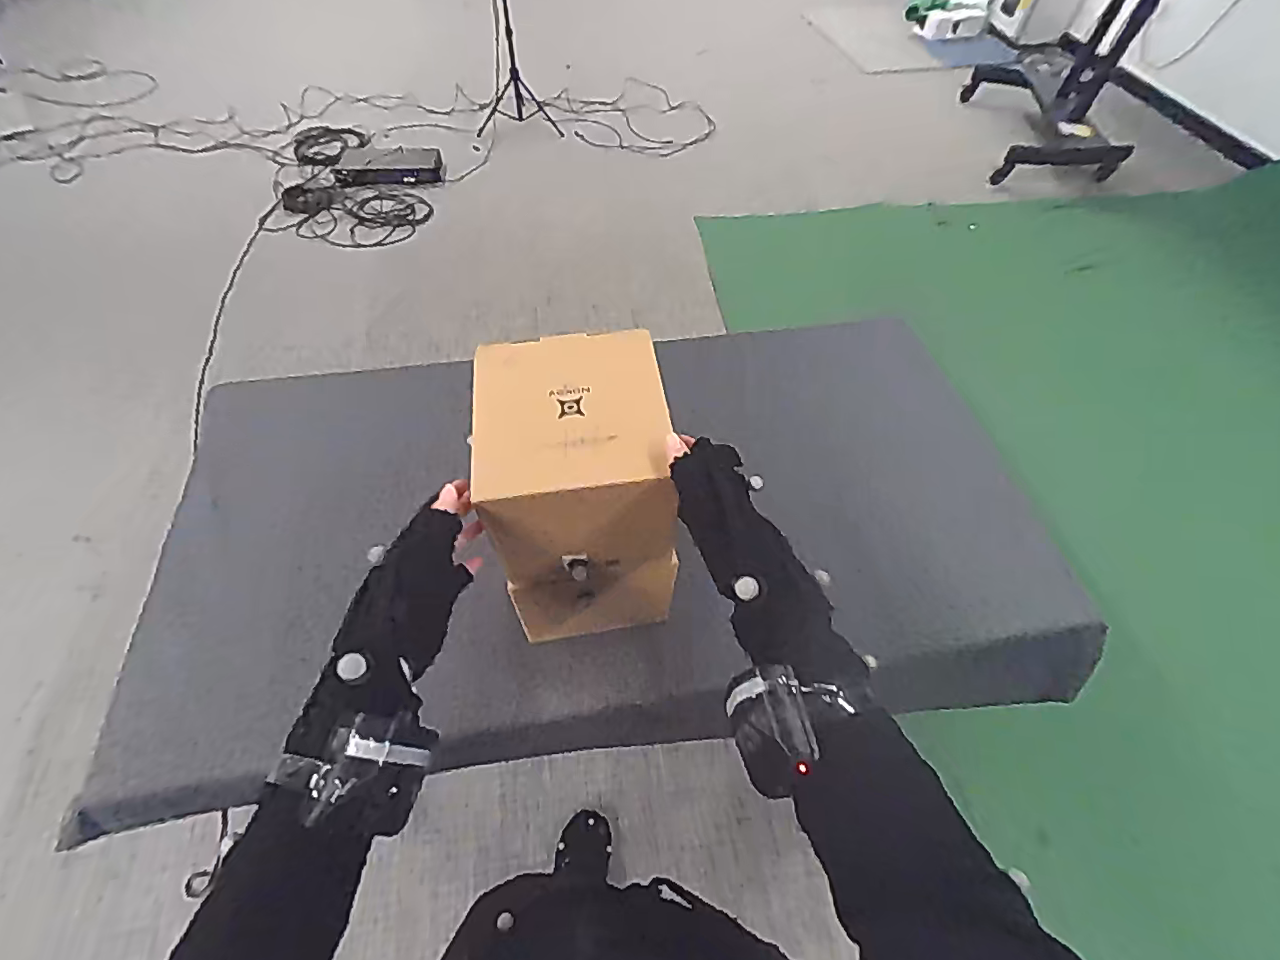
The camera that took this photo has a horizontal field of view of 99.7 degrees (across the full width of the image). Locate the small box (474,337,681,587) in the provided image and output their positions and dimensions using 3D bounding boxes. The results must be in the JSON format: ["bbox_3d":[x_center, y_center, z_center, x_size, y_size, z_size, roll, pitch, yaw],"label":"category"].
[{"bbox_3d":[-0.060,-0.015,0.535,0.168,0.176,0.179,-7,56,-5],"label":"small box"}]

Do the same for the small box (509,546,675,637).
[{"bbox_3d":[-0.063,0.081,0.667,0.179,0.176,0.168,-7,56,-8],"label":"small box"}]
